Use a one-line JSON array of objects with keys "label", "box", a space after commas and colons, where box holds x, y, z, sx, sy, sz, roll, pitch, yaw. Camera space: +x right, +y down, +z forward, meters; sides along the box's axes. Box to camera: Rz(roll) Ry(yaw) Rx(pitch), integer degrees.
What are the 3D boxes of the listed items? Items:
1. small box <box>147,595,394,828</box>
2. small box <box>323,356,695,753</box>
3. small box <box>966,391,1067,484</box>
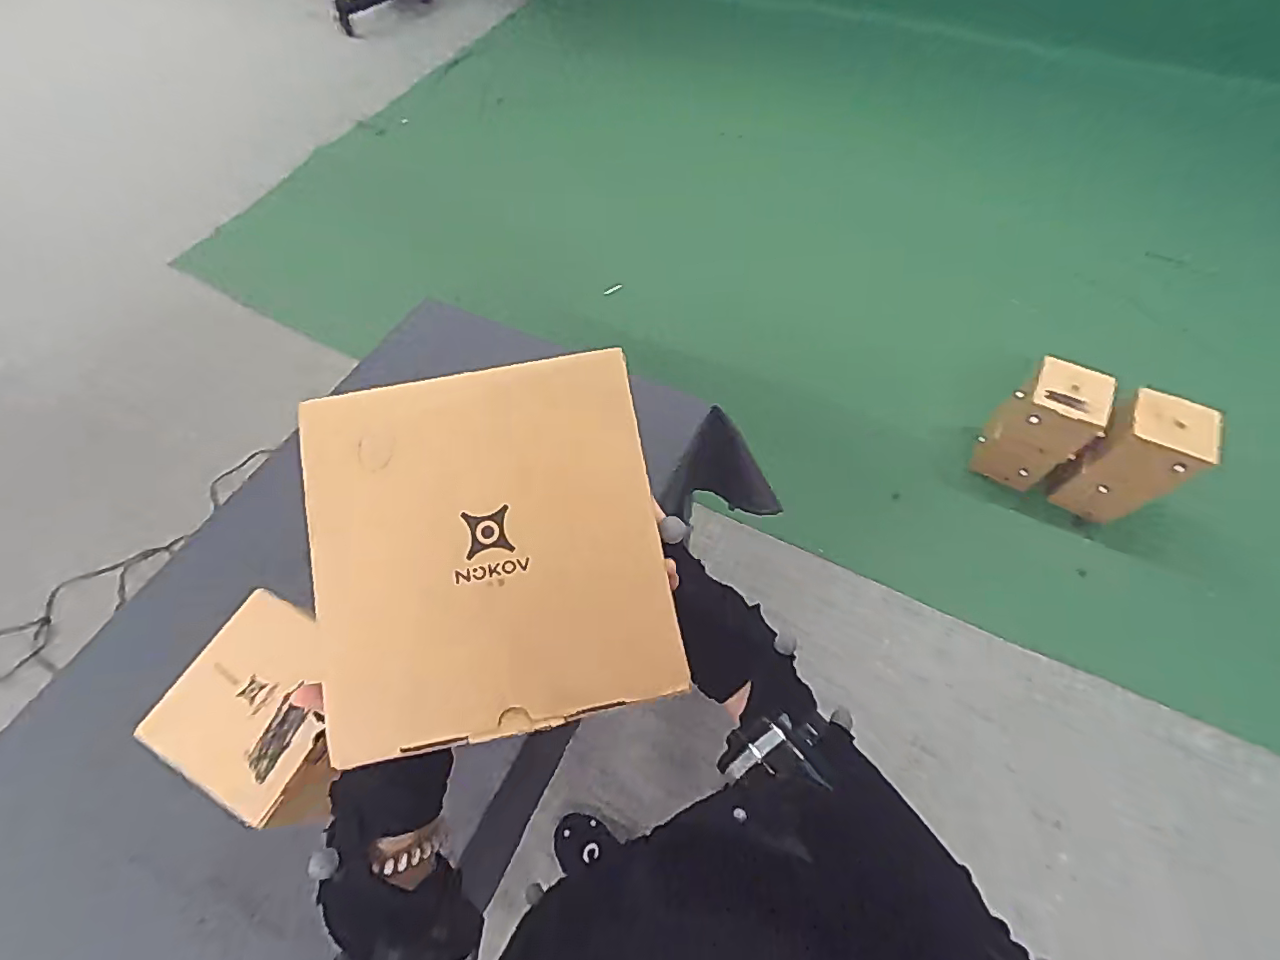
[{"label": "small box", "box": [-0.373, 0.259, 0.615, 0.179, 0.176, 0.168, 22, 64, 16]}, {"label": "small box", "box": [-0.071, 0.044, 0.349, 0.168, 0.176, 0.179, -11, 81, -4]}, {"label": "small box", "box": [1.082, -0.117, 1.566, 0.168, 0.176, 0.179, 28, 66, 17]}]
